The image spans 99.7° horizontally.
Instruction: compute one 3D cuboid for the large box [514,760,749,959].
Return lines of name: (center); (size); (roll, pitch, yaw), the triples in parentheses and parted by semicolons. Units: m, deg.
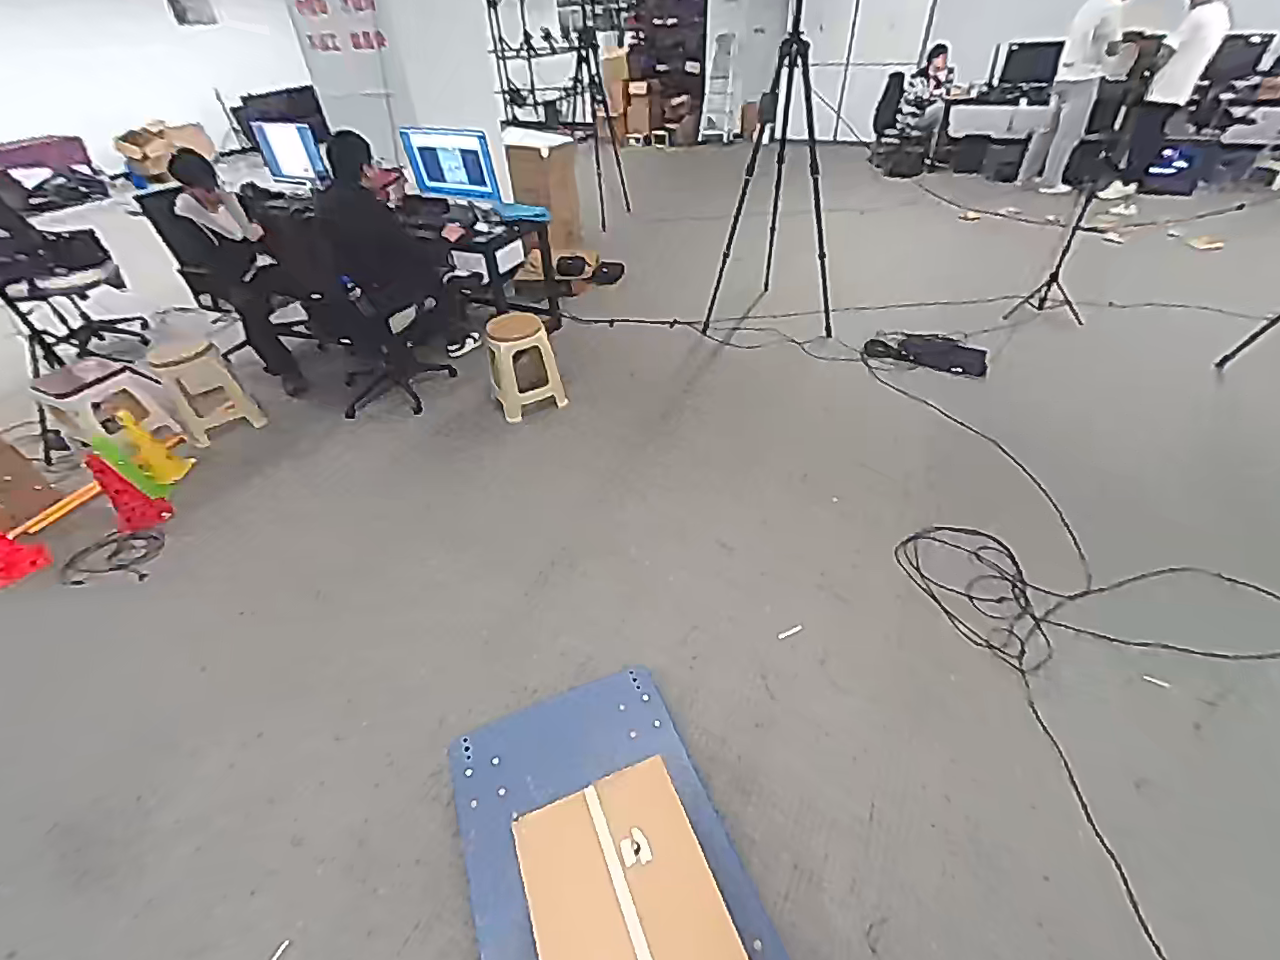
large box: (-0.016, 0.850, 1.035); (0.320, 0.320, 0.408); (-16, 41, -16)
